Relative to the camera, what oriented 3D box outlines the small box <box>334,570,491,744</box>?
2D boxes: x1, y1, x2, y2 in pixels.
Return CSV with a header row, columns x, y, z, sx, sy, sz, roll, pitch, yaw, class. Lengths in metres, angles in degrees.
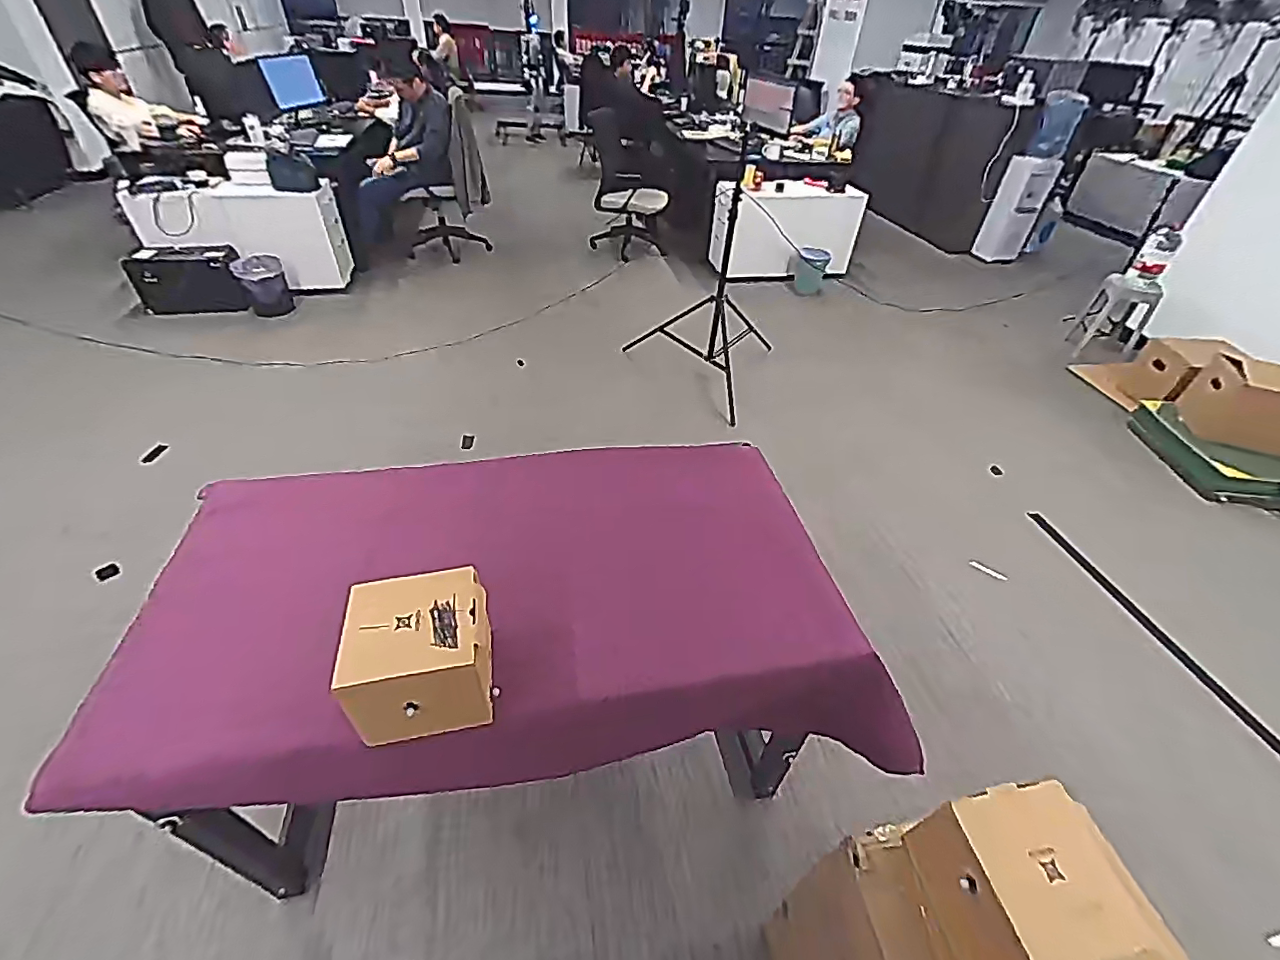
x,y,z,sx,sy,sz,roll,pitch,yaw,class
-0.315,0.258,0.793,0.179,0.176,0.168,-7,41,-11,small box
